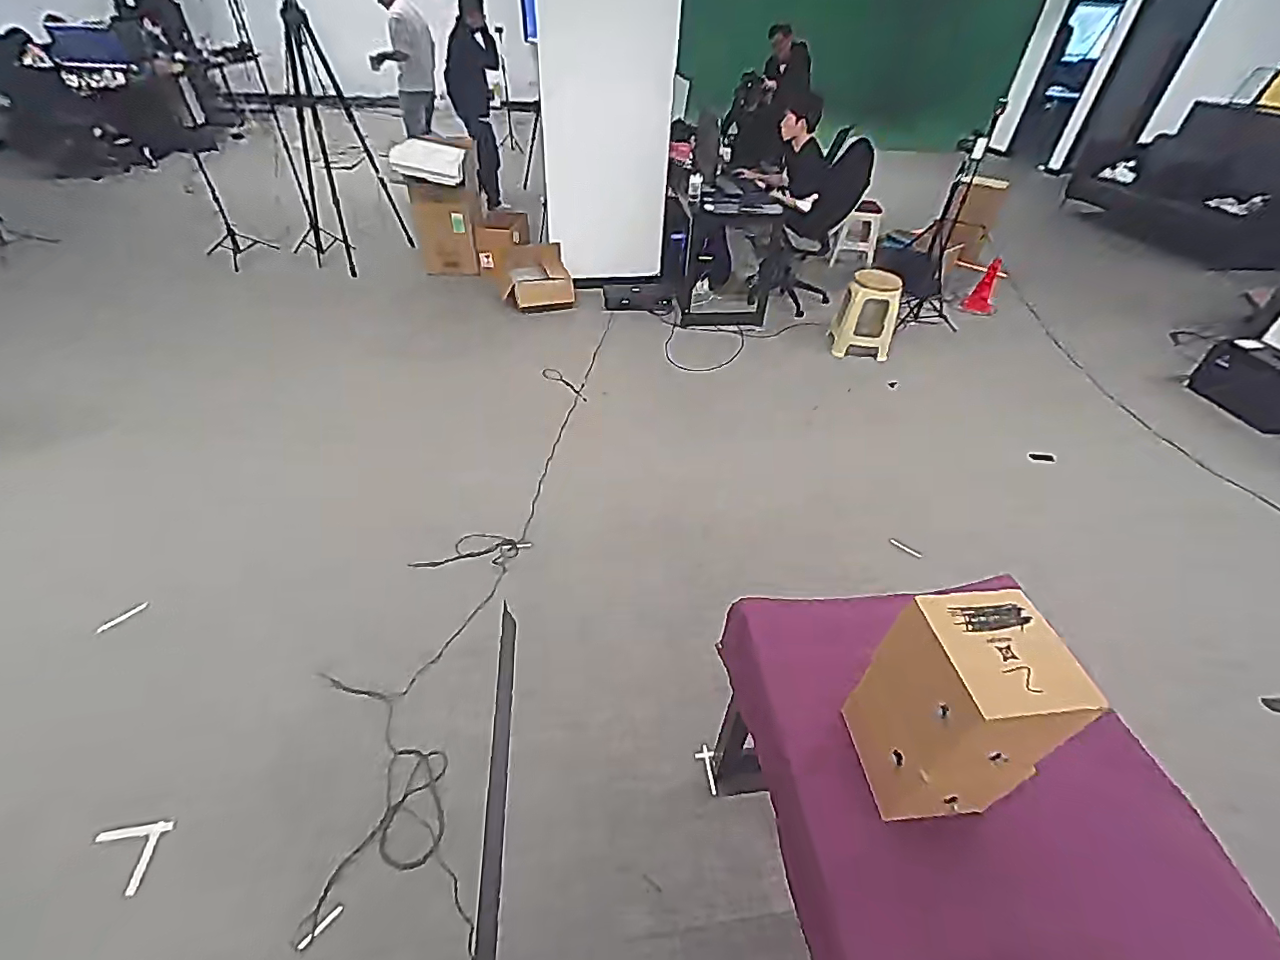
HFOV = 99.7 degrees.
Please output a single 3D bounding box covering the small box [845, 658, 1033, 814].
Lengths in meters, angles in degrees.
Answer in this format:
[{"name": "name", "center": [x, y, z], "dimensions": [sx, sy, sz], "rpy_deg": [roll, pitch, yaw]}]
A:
[{"name": "small box", "center": [0.447, 0.402, 0.844], "dimensions": [0.168, 0.176, 0.179], "rpy_deg": [-1, 42, -6]}]
